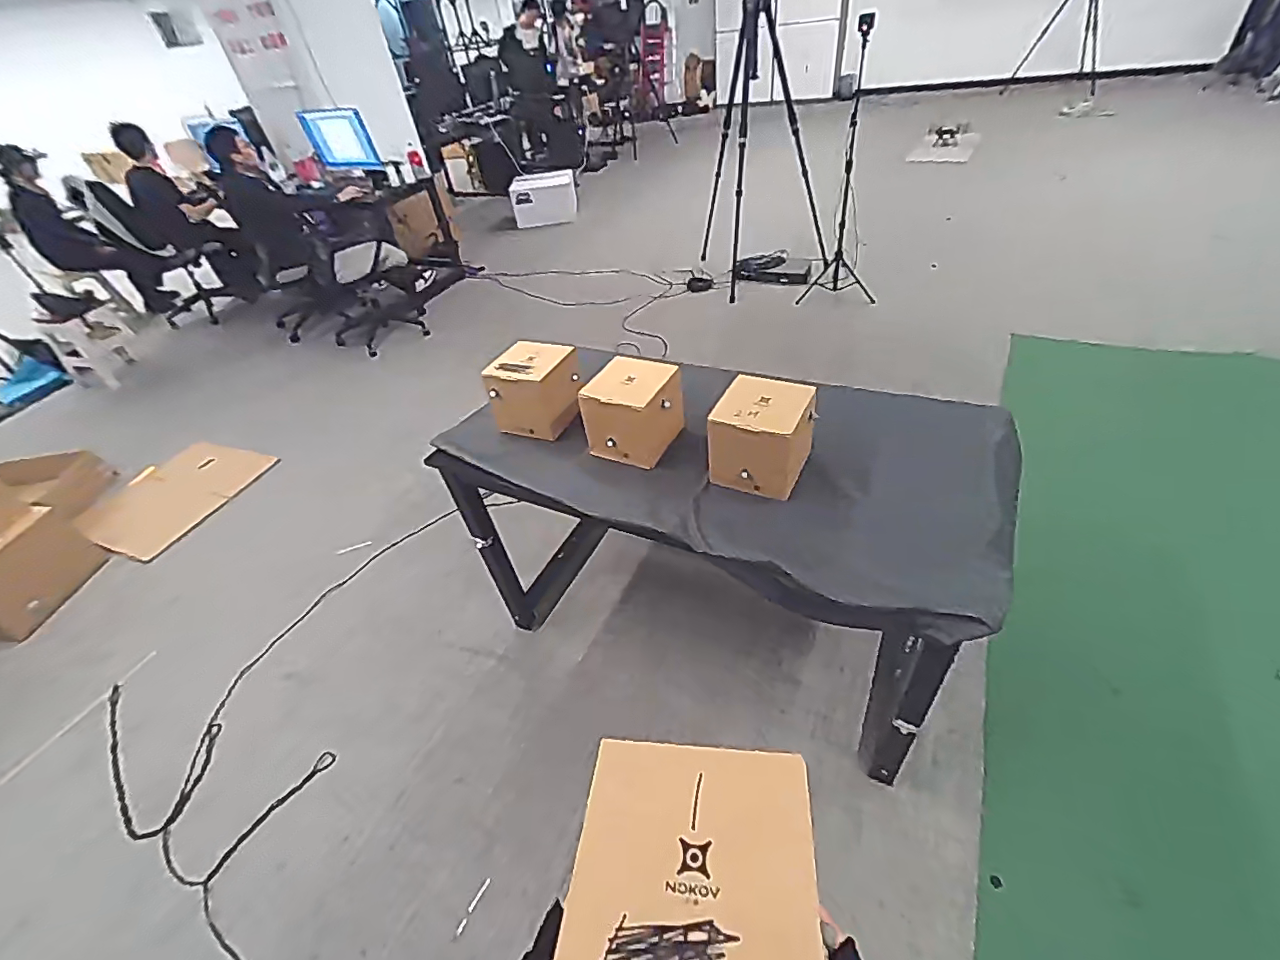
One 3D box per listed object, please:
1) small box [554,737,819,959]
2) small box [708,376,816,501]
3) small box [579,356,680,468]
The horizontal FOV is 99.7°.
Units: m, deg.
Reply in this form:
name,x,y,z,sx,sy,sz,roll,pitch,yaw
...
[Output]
name,x,y,z,sx,sy,sz,roll,pitch,yaw
small box,0.045,0.330,0.415,0.168,0.176,0.179,0,36,11
small box,0.247,-0.087,1.109,0.168,0.176,0.179,16,47,25
small box,-0.016,-0.156,1.232,0.168,0.176,0.179,16,47,24
